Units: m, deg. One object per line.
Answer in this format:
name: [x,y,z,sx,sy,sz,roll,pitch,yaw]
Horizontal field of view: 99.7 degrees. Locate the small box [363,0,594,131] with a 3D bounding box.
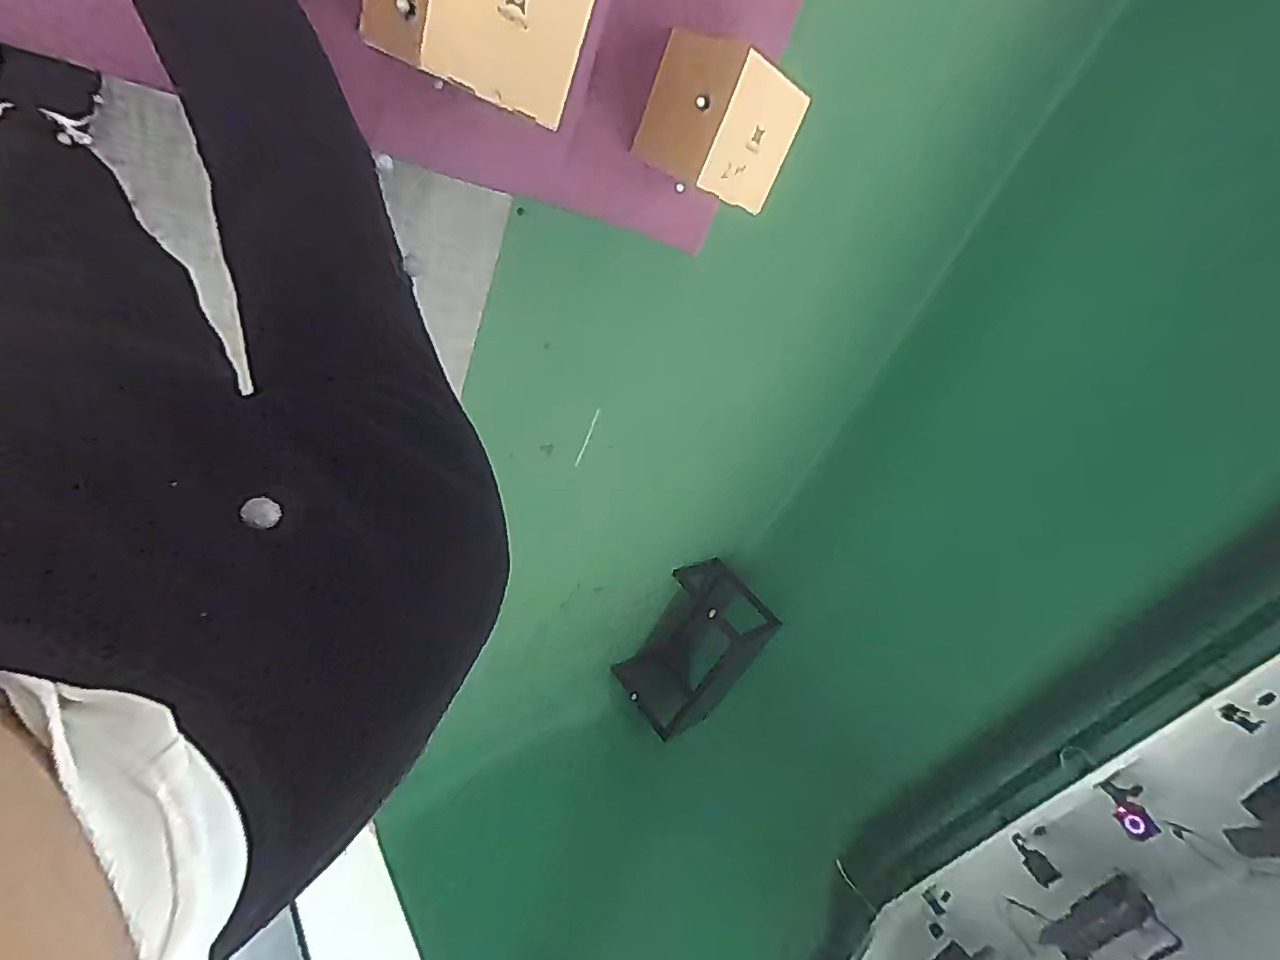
small box: [-0.170,-0.513,0.567,0.168,0.176,0.179,-7,133,-46]

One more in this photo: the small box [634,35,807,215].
small box: [0.118,-0.553,0.848,0.168,0.176,0.179,-5,131,-45]
